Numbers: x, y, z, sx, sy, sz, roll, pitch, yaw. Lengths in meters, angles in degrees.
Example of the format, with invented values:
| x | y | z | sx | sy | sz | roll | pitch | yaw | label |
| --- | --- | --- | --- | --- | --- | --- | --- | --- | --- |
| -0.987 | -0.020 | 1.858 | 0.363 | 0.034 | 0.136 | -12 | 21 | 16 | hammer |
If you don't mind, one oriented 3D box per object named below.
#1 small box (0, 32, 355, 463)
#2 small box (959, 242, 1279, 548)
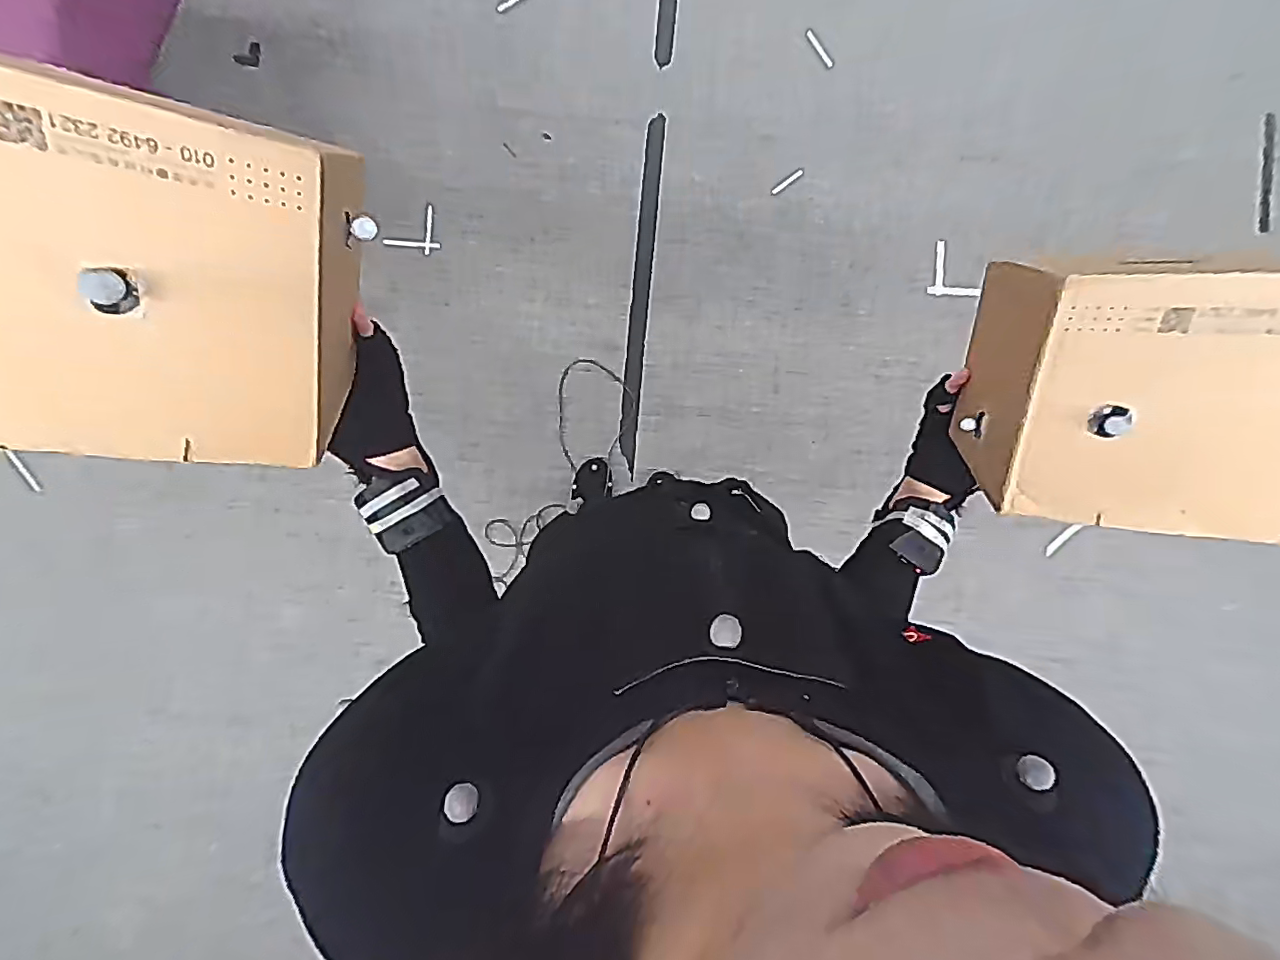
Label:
| x | y | z | sx | sy | sz | roll | pitch | yaw | label |
| --- | --- | --- | --- | --- | --- | --- | --- | --- | --- |
| -0.262 | -0.126 | 0.303 | 0.168 | 0.179 | 0.176 | 5 | 116 | -23 | small box |
| 0.356 | -0.075 | 0.390 | 0.168 | 0.179 | 0.176 | 7 | 117 | 17 | small box |
